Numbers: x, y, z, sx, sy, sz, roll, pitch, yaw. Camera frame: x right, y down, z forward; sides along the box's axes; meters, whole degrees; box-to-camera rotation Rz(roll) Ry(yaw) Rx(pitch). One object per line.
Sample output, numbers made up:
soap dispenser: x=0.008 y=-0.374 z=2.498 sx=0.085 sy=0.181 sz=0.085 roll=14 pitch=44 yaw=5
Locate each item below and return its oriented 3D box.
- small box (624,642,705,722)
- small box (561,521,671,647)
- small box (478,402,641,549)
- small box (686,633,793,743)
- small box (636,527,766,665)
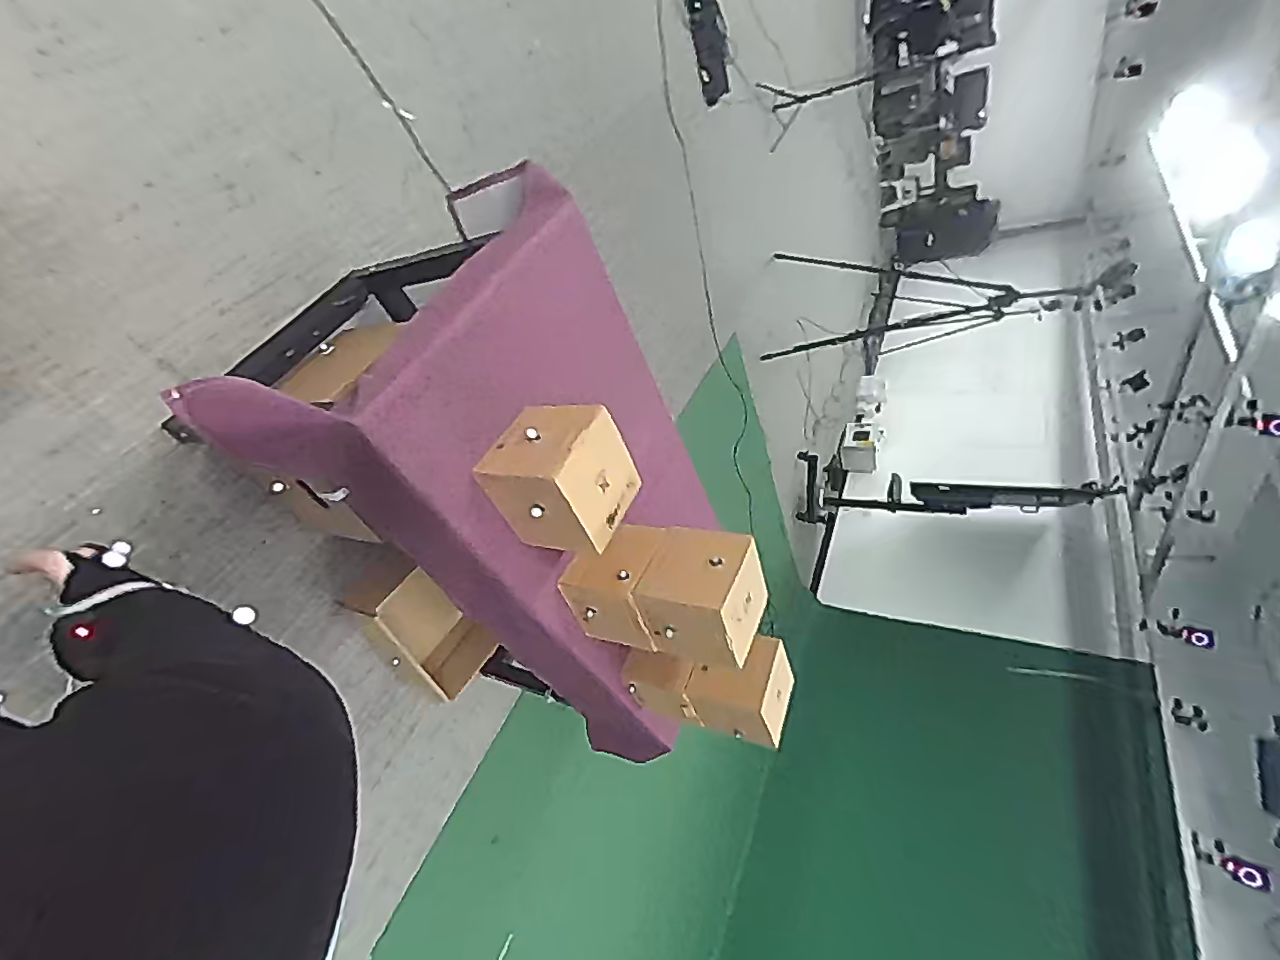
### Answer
small box: x=0.082 y=0.430 z=1.271 sx=0.179 sy=0.176 sz=0.168 roll=-60 pitch=140 yaw=-36
small box: x=-0.027 y=0.197 z=1.078 sx=0.179 sy=0.176 sz=0.168 roll=-55 pitch=136 yaw=-38
small box: x=-0.129 y=-0.009 z=0.888 sx=0.168 sy=0.176 sz=0.179 roll=-59 pitch=138 yaw=-35
small box: x=0.222 y=0.440 z=1.188 sx=0.168 sy=0.176 sz=0.179 roll=-60 pitch=139 yaw=-37
small box: x=0.116 y=0.203 z=0.995 sx=0.179 sy=0.176 sz=0.168 roll=-54 pitch=136 yaw=-39
